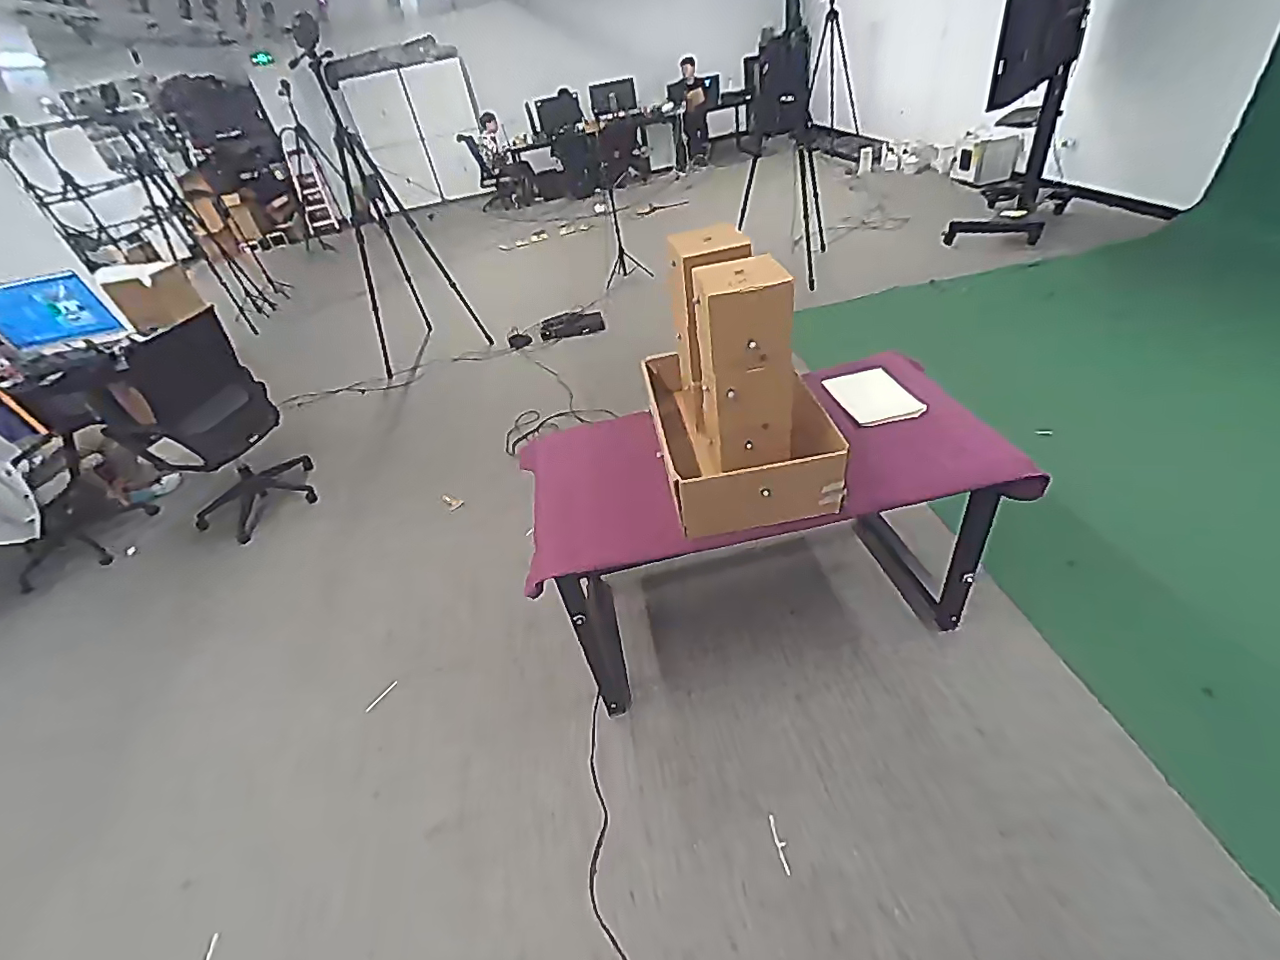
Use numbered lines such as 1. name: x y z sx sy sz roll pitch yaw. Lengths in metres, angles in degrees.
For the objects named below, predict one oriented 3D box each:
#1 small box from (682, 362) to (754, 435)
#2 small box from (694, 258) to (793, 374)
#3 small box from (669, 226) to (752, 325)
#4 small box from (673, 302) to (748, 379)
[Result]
1. small box: 0.220 -0.255 1.545 0.168 0.176 0.179 -12 41 -2
2. small box: 0.211 -0.341 1.124 0.168 0.176 0.179 -10 39 1
3. small box: 0.172 -0.505 1.340 0.168 0.176 0.179 -13 41 -2
4. small box: 0.194 -0.383 1.445 0.168 0.176 0.179 -13 40 -2
